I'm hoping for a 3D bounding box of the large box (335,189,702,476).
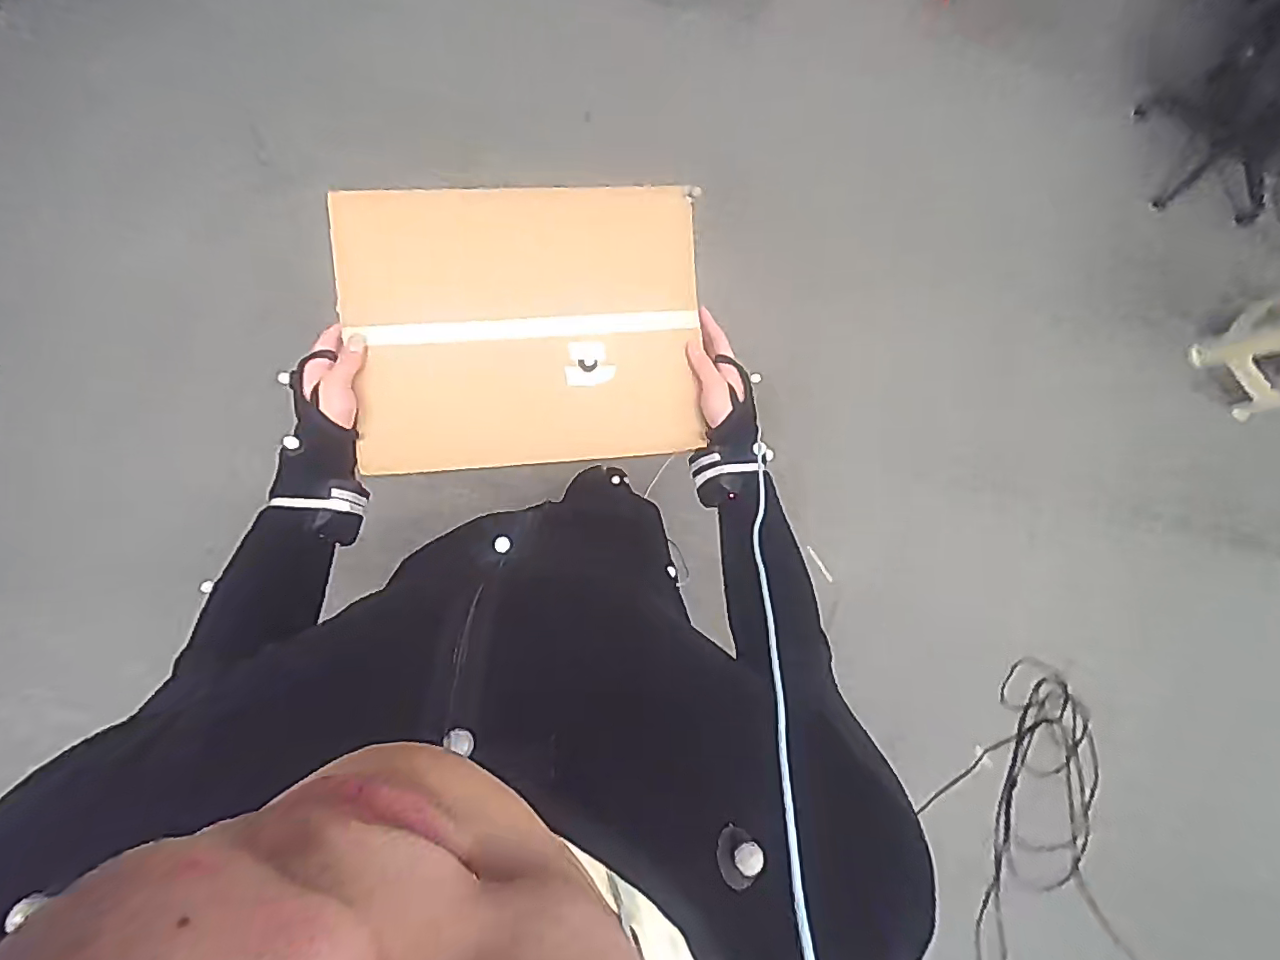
[{"bbox_3d":[-0.153,-0.186,0.784,0.408,0.320,0.320,-6,95,-8],"label":"large box"}]
